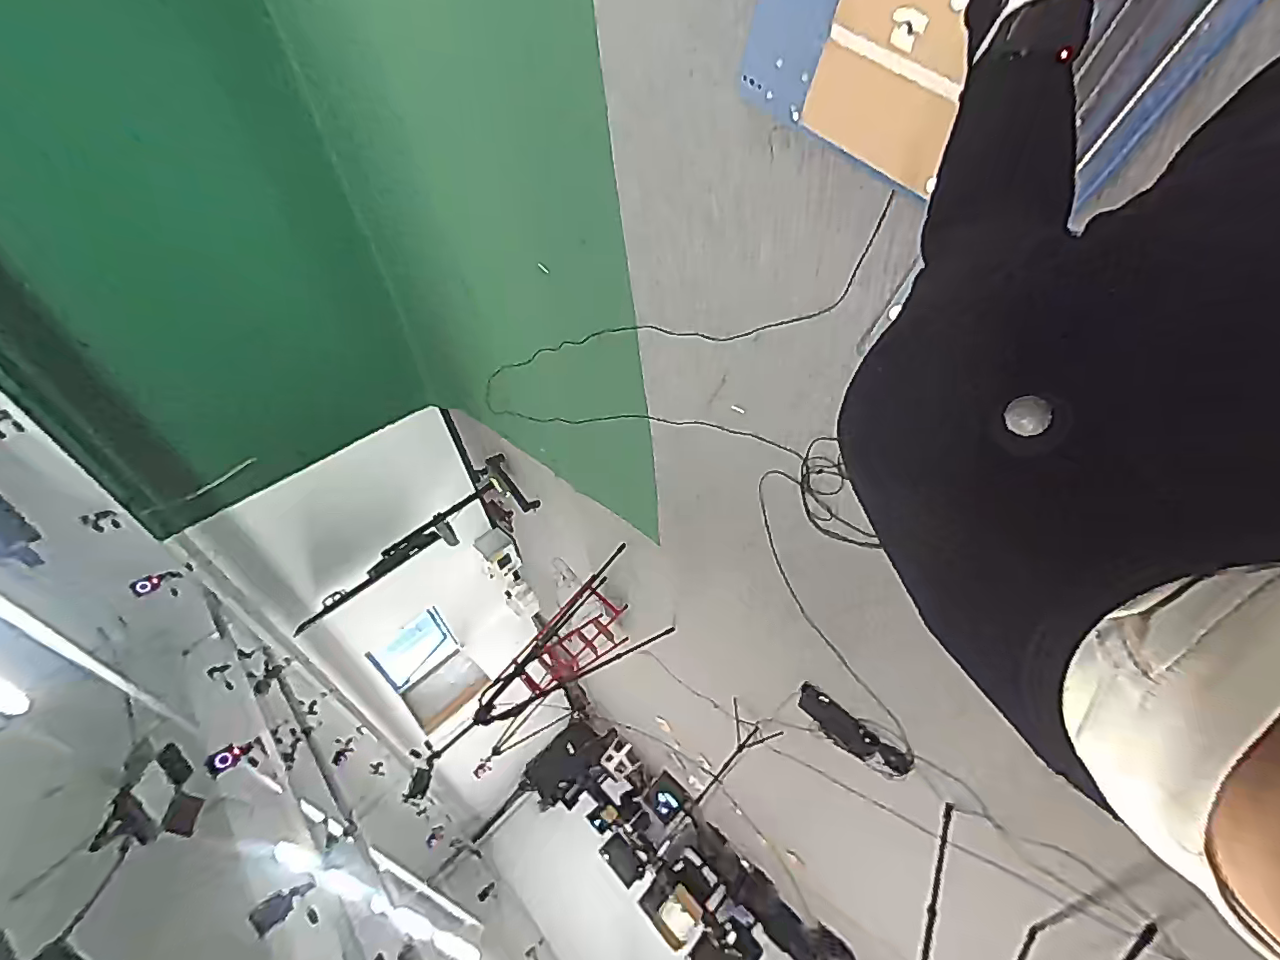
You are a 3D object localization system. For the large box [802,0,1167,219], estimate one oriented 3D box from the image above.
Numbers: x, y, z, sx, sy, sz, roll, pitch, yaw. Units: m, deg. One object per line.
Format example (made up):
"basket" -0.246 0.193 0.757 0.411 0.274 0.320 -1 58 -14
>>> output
"large box" 0.587 -0.748 0.966 0.408 0.320 0.320 45 150 19
